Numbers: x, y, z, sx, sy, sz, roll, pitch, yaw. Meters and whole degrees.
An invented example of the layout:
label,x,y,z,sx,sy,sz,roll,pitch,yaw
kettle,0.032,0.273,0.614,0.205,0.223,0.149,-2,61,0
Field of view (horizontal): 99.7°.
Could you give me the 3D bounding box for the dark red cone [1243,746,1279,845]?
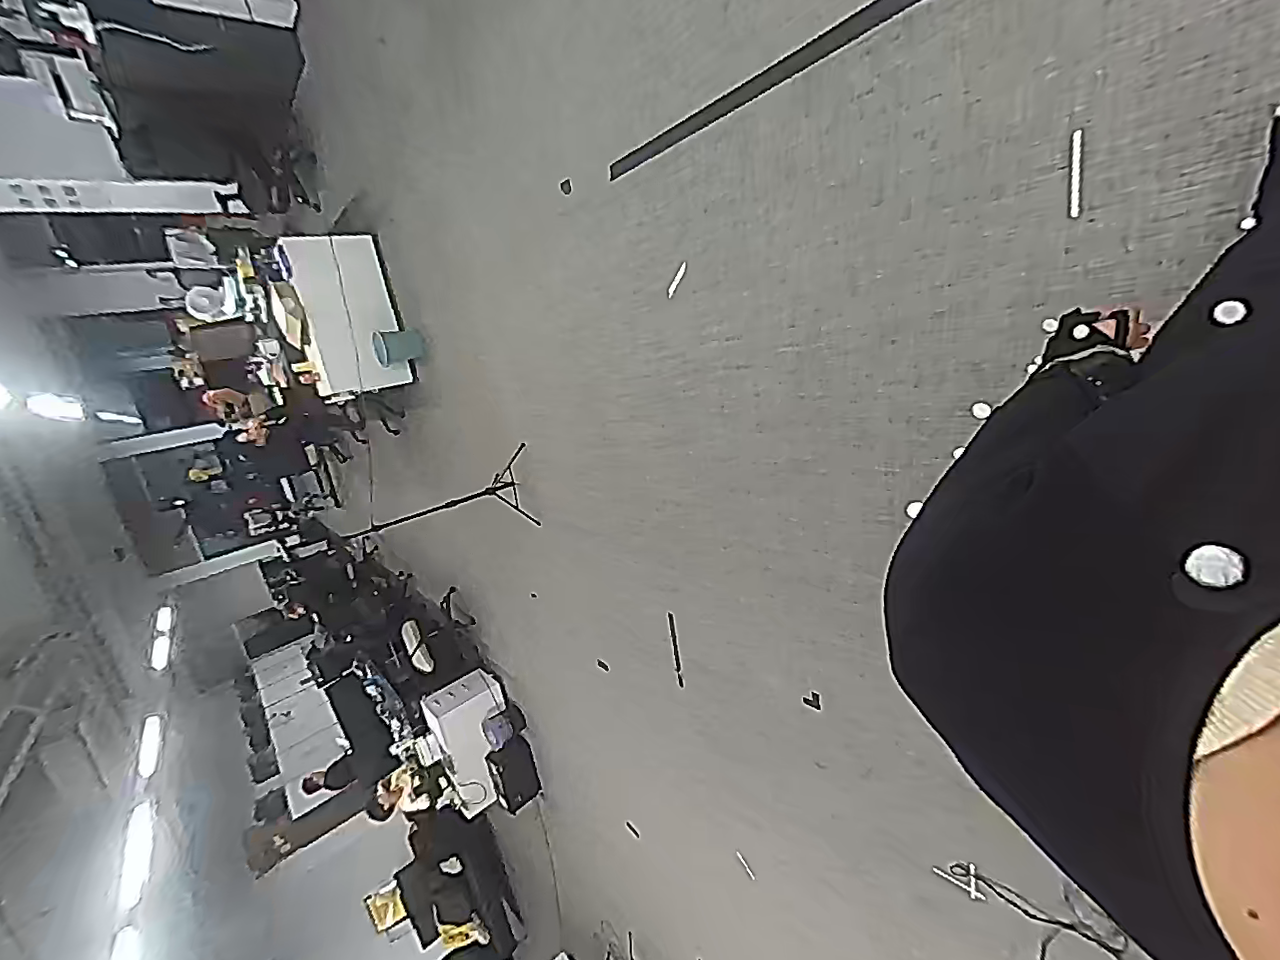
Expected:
label,x,y,z,sx,sy,sz,roll,pitch,yaw
dark red cone,1.148,0.661,0.906,0.201,0.394,0.202,7,114,51
